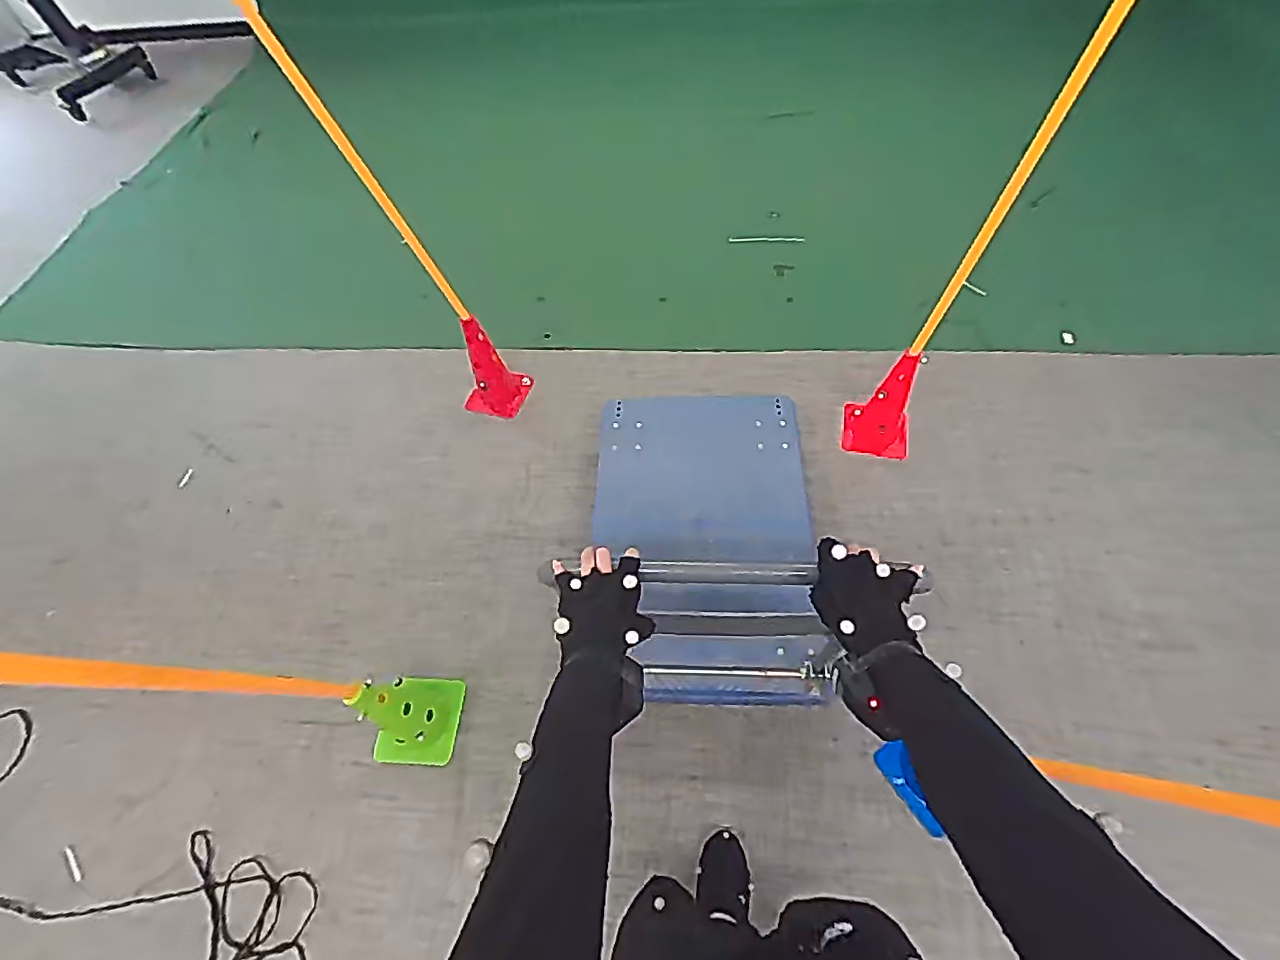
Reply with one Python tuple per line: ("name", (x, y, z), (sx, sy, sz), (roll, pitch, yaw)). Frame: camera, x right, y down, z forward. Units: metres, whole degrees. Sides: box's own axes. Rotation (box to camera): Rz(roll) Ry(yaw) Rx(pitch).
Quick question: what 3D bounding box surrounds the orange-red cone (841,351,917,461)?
("orange-red cone", (0.748, -0.243, 1.615), (0.198, 0.360, 0.199), (11, 60, 12))
